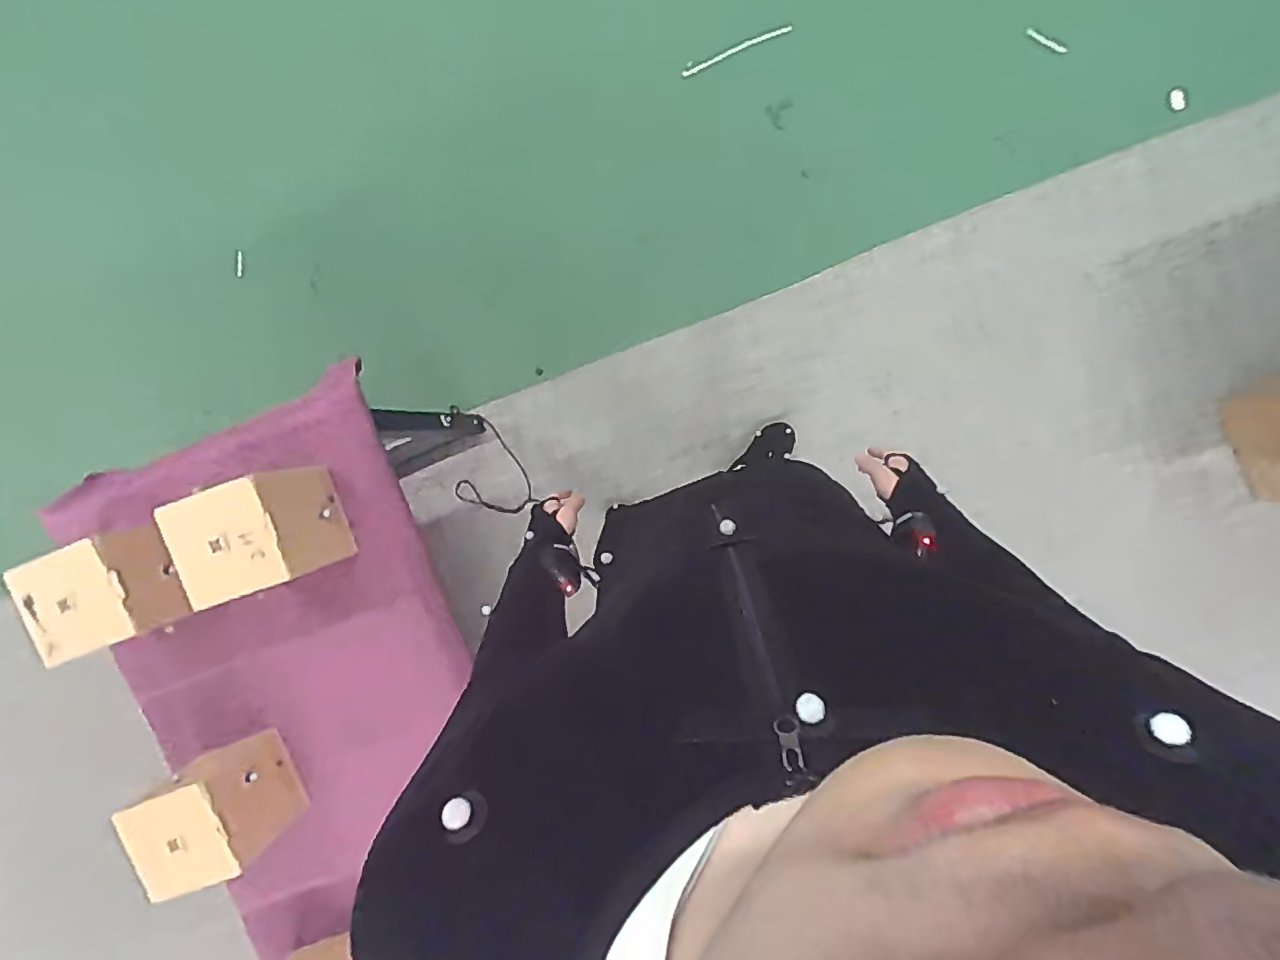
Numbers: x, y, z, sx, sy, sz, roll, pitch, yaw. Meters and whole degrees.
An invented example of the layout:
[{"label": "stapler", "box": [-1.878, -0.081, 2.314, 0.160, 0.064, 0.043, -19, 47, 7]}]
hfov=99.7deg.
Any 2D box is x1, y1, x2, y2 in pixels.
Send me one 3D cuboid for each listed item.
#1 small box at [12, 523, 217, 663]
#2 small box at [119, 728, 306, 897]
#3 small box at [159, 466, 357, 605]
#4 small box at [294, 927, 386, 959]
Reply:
[{"label": "small box", "box": [-0.872, 0.180, 0.925, 0.179, 0.176, 0.168, -21, 93, 6]}, {"label": "small box", "box": [-0.731, 0.570, 0.951, 0.179, 0.176, 0.168, -22, 93, 7]}, {"label": "small box", "box": [-0.612, 0.083, 0.888, 0.179, 0.176, 0.168, -18, 95, 7]}, {"label": "small box", "box": [-0.567, 0.961, 0.971, 0.179, 0.176, 0.168, -23, 92, 7]}]
